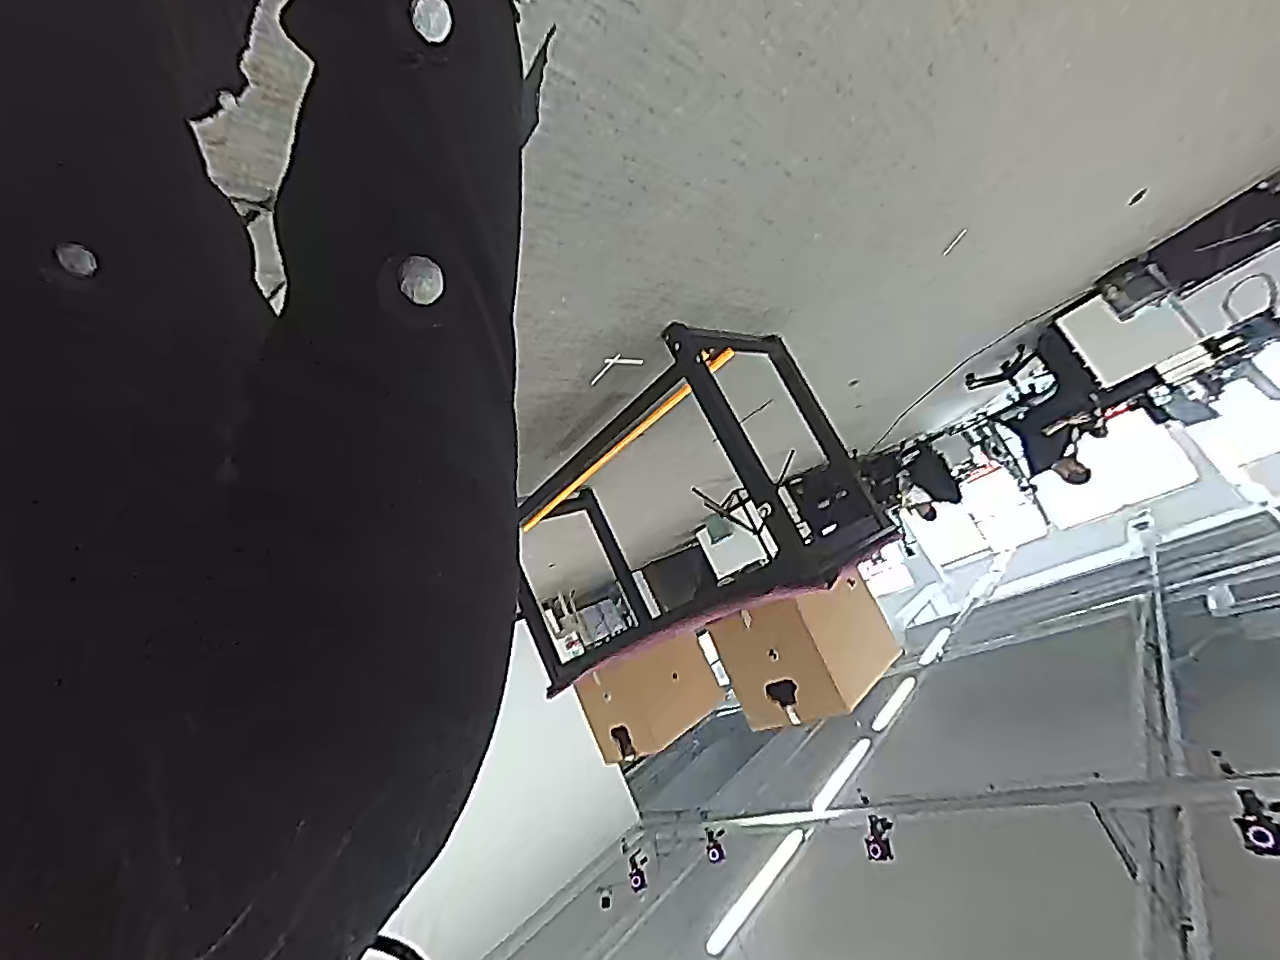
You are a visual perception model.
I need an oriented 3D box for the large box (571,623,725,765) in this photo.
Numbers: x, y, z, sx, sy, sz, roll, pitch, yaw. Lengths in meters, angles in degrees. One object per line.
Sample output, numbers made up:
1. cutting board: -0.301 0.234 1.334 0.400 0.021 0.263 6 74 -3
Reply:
1. large box: 0.028 0.772 1.982 0.408 0.320 0.320 -13 162 -48
